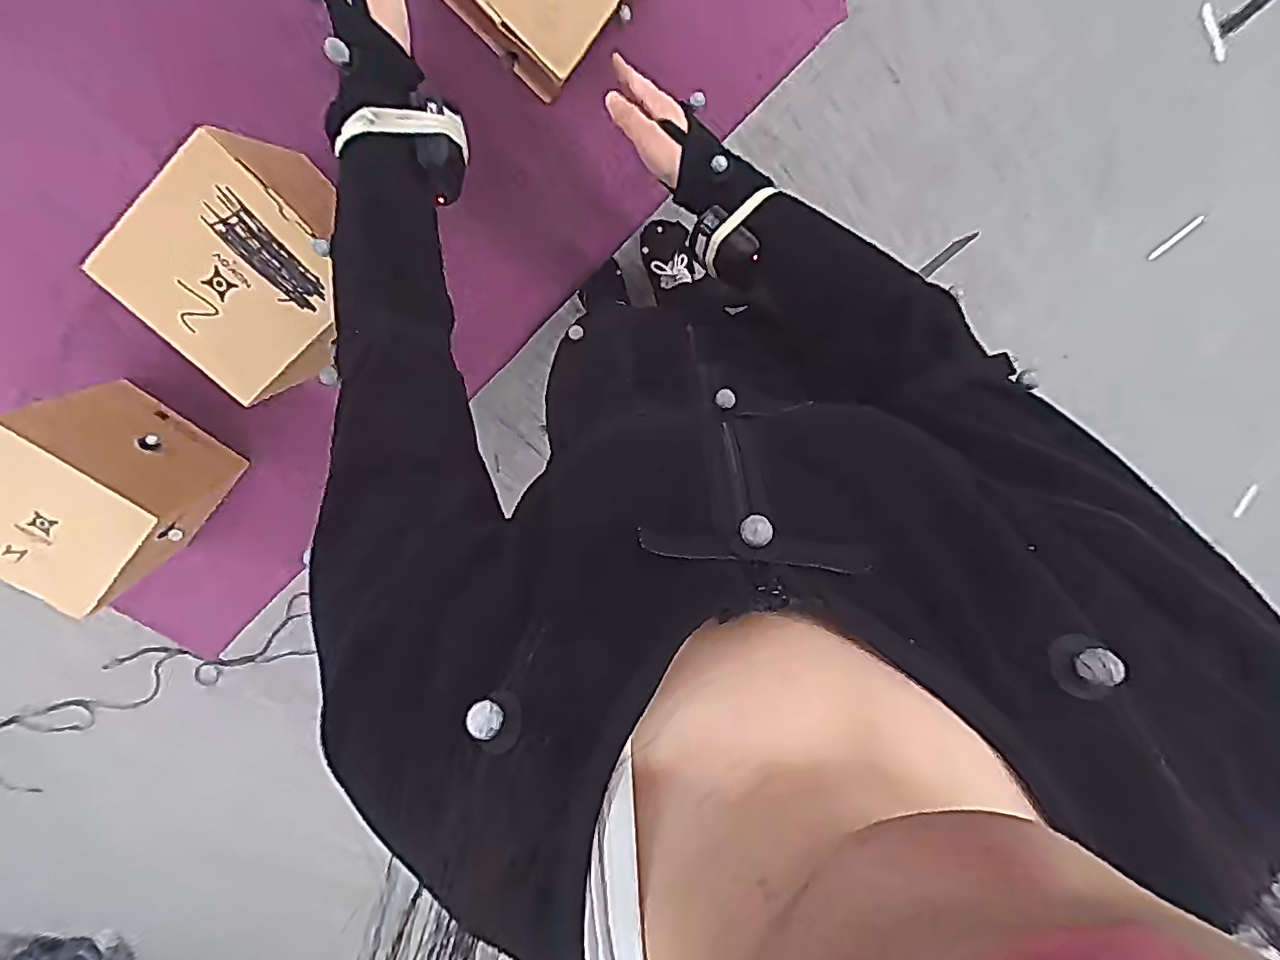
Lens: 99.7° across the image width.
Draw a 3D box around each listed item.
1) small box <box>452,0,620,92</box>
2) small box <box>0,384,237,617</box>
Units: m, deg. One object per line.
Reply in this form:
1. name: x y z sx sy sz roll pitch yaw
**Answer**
1. small box: -0.085 -0.469 0.453 0.168 0.176 0.179 32 107 -30
2. small box: -0.620 0.013 0.626 0.168 0.176 0.179 42 104 -19
